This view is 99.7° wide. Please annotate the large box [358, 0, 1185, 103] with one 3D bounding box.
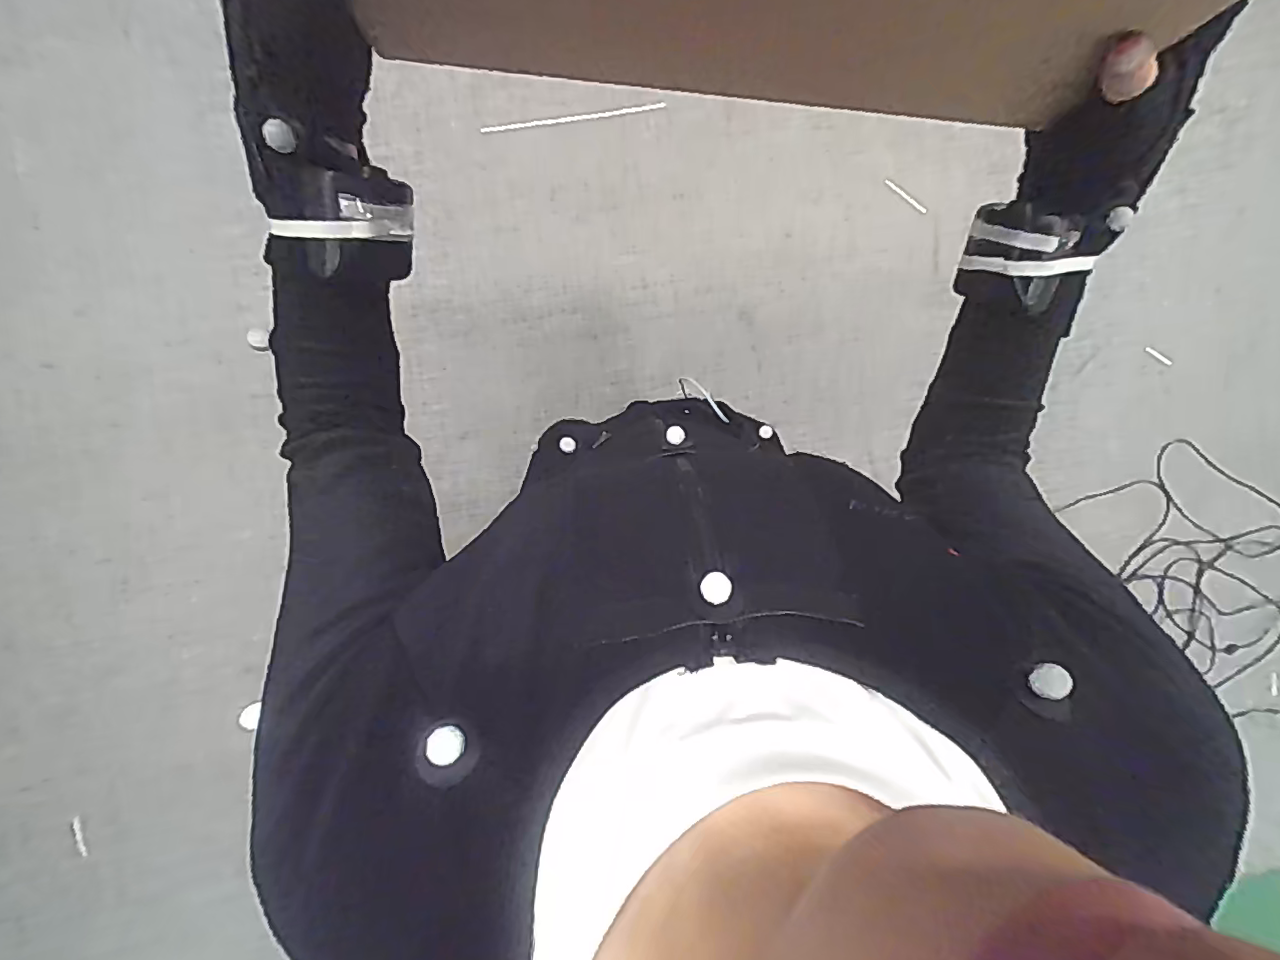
[{"bbox_3d":[0.063,-0.366,0.153,0.408,0.320,0.320,4,99,-3],"label":"large box"}]
